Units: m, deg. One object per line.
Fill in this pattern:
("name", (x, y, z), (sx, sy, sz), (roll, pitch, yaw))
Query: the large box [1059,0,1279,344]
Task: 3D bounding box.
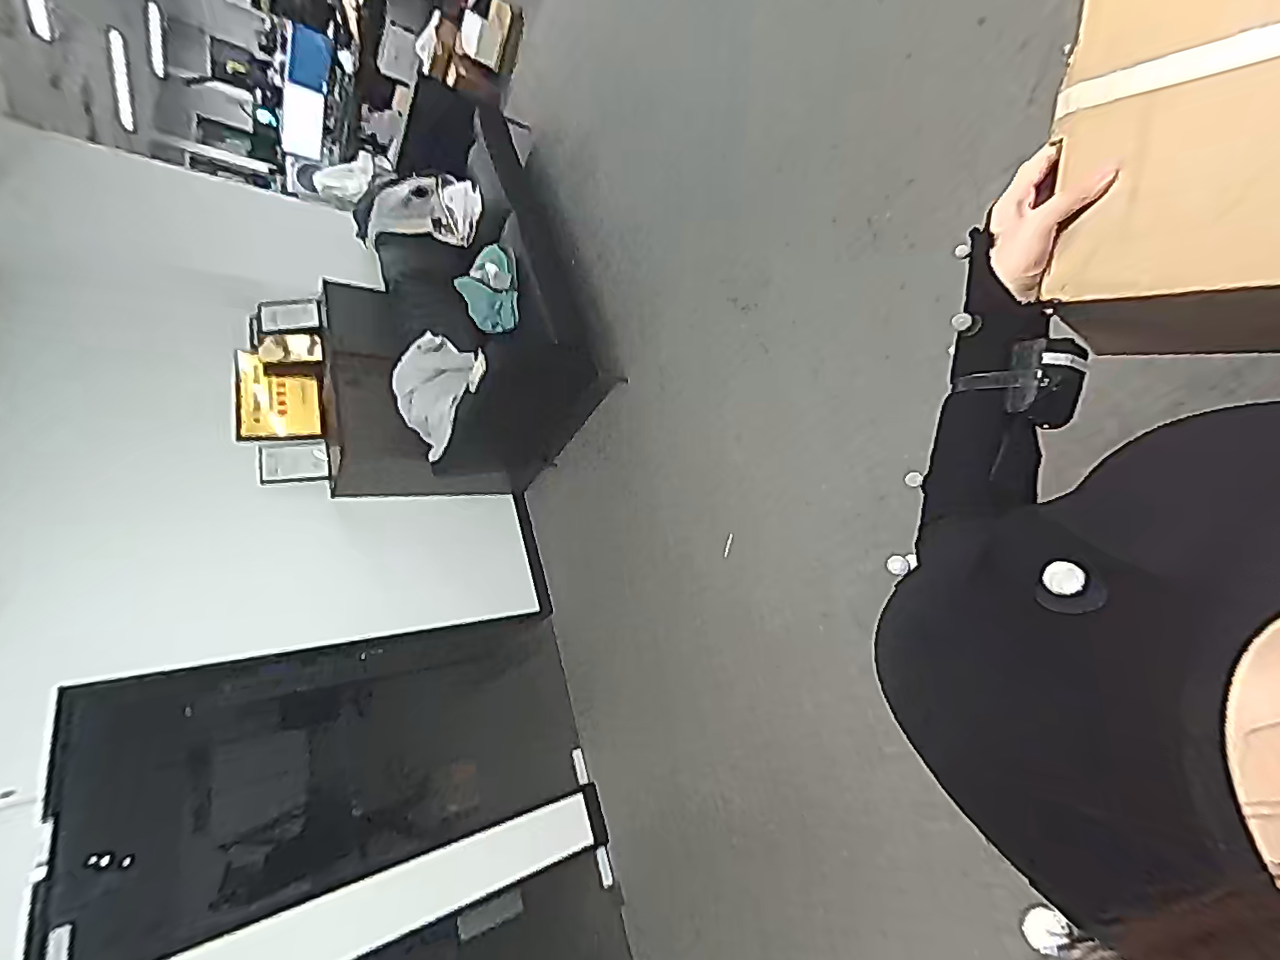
("large box", (0.589, -0.288, 0.389), (0.408, 0.320, 0.320), (10, 99, 44))
